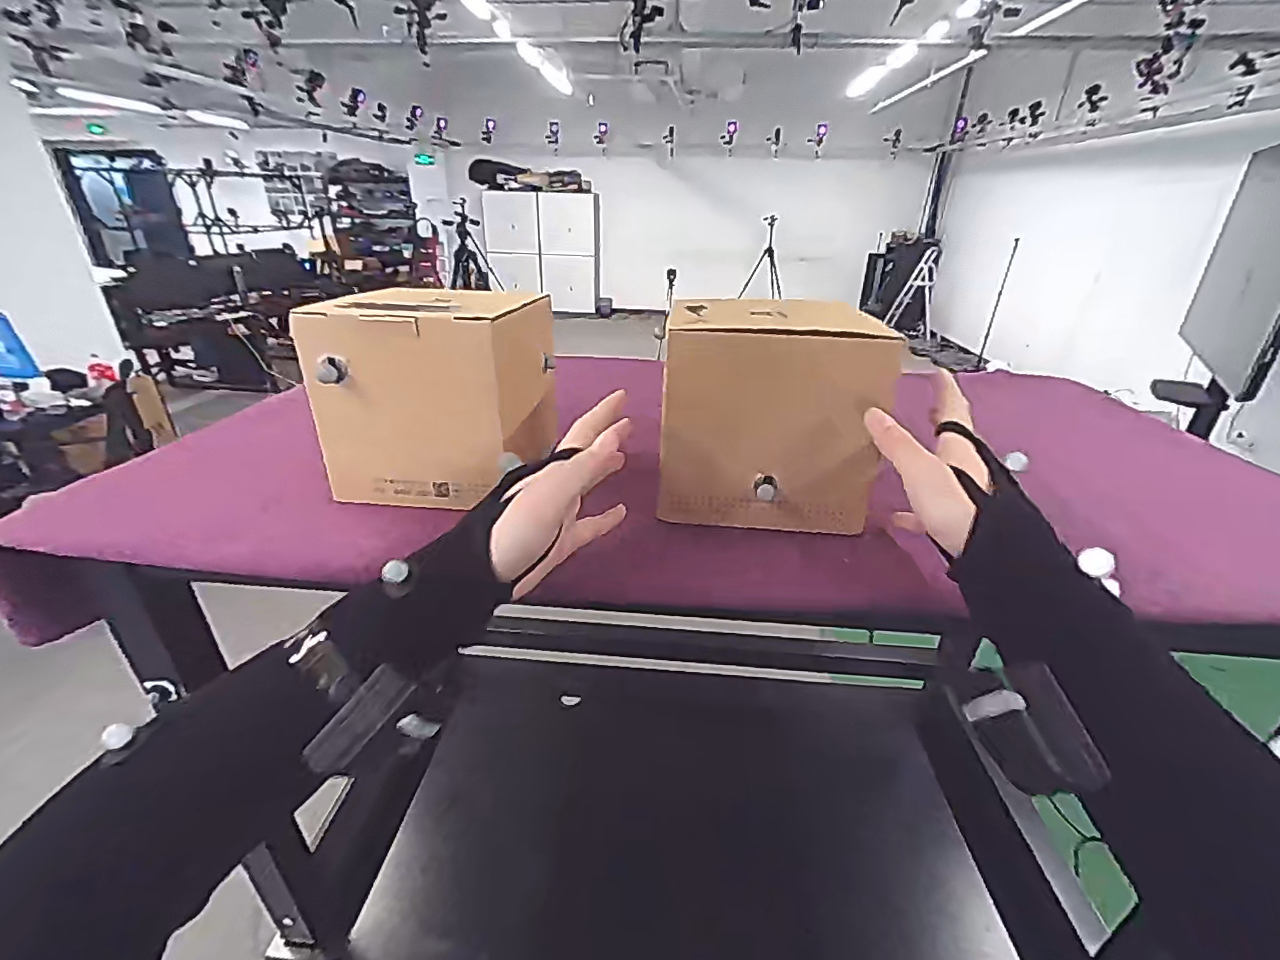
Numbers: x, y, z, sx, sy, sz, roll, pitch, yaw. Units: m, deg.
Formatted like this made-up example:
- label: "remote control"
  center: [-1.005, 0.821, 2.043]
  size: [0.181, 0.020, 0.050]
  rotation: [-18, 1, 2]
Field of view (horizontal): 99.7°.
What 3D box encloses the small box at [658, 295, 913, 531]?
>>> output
- label: "small box"
  center: [0.113, -0.067, 0.493]
  size: [0.179, 0.176, 0.168]
  rotation: [4, 25, 4]
